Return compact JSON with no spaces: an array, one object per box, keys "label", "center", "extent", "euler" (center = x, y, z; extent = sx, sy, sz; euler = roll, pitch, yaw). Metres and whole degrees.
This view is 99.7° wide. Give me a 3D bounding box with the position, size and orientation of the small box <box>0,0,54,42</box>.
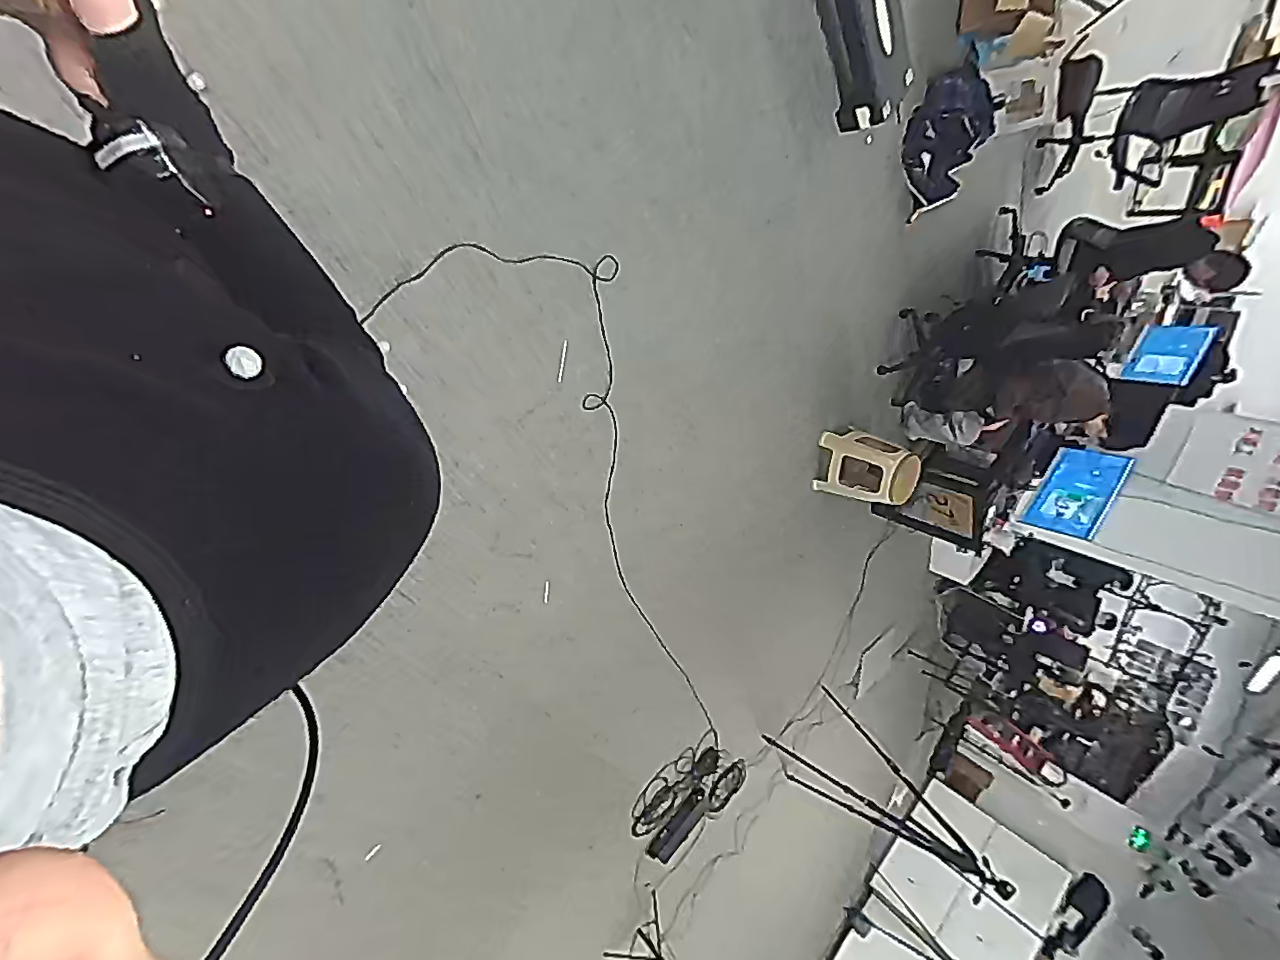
[{"label":"small box","center":[-0.418,-0.334,0.251],"extent":[0.179,0.176,0.168],"euler":[-13,121,-39]}]
